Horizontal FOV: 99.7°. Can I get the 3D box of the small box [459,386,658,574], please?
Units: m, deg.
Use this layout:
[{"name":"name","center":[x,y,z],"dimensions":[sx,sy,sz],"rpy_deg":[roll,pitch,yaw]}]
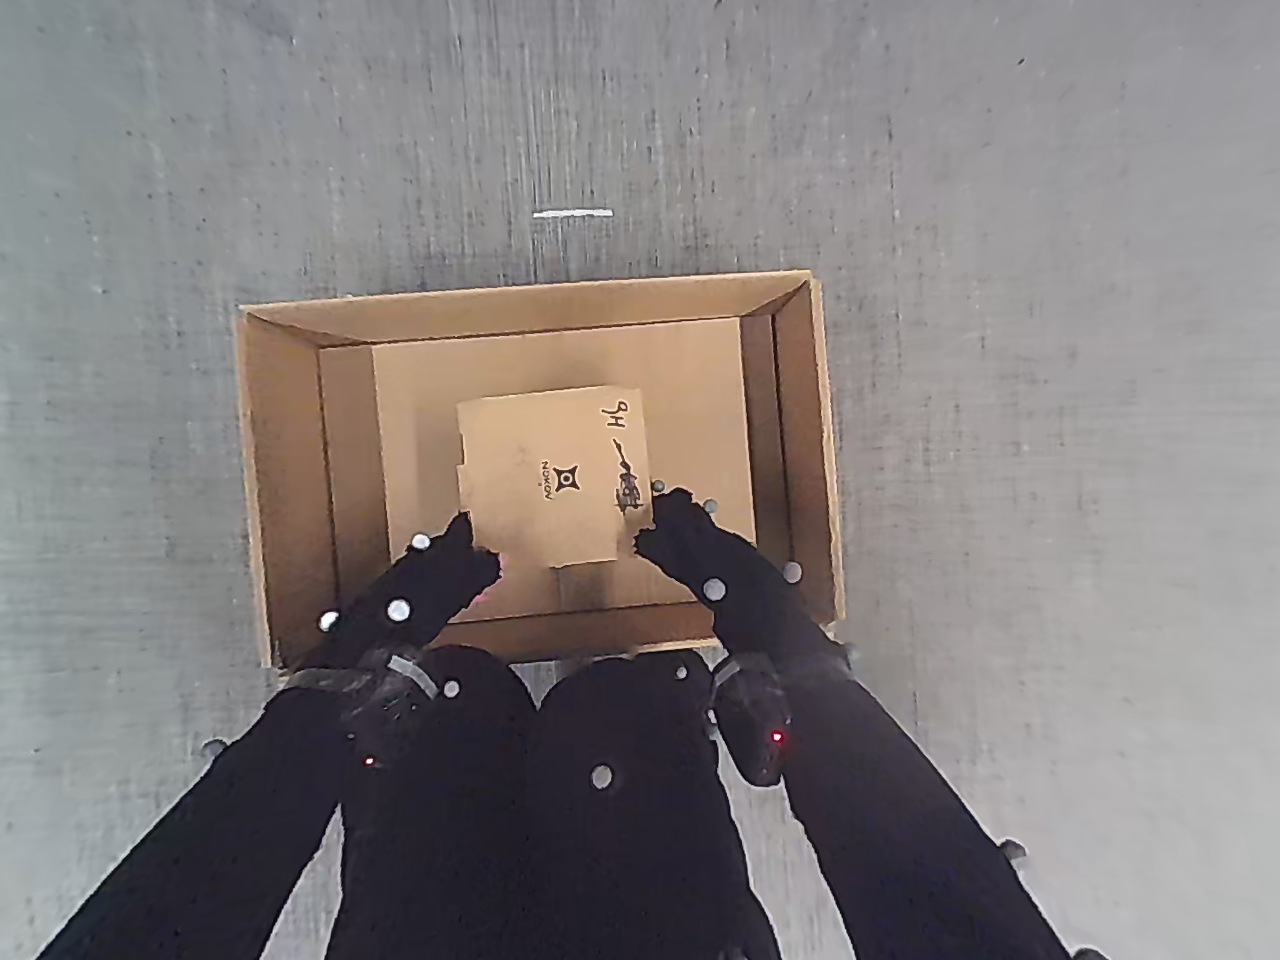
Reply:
[{"name":"small box","center":[-0.080,0.003,0.598],"dimensions":[0.179,0.176,0.168],"rpy_deg":[-8,89,-2]}]
